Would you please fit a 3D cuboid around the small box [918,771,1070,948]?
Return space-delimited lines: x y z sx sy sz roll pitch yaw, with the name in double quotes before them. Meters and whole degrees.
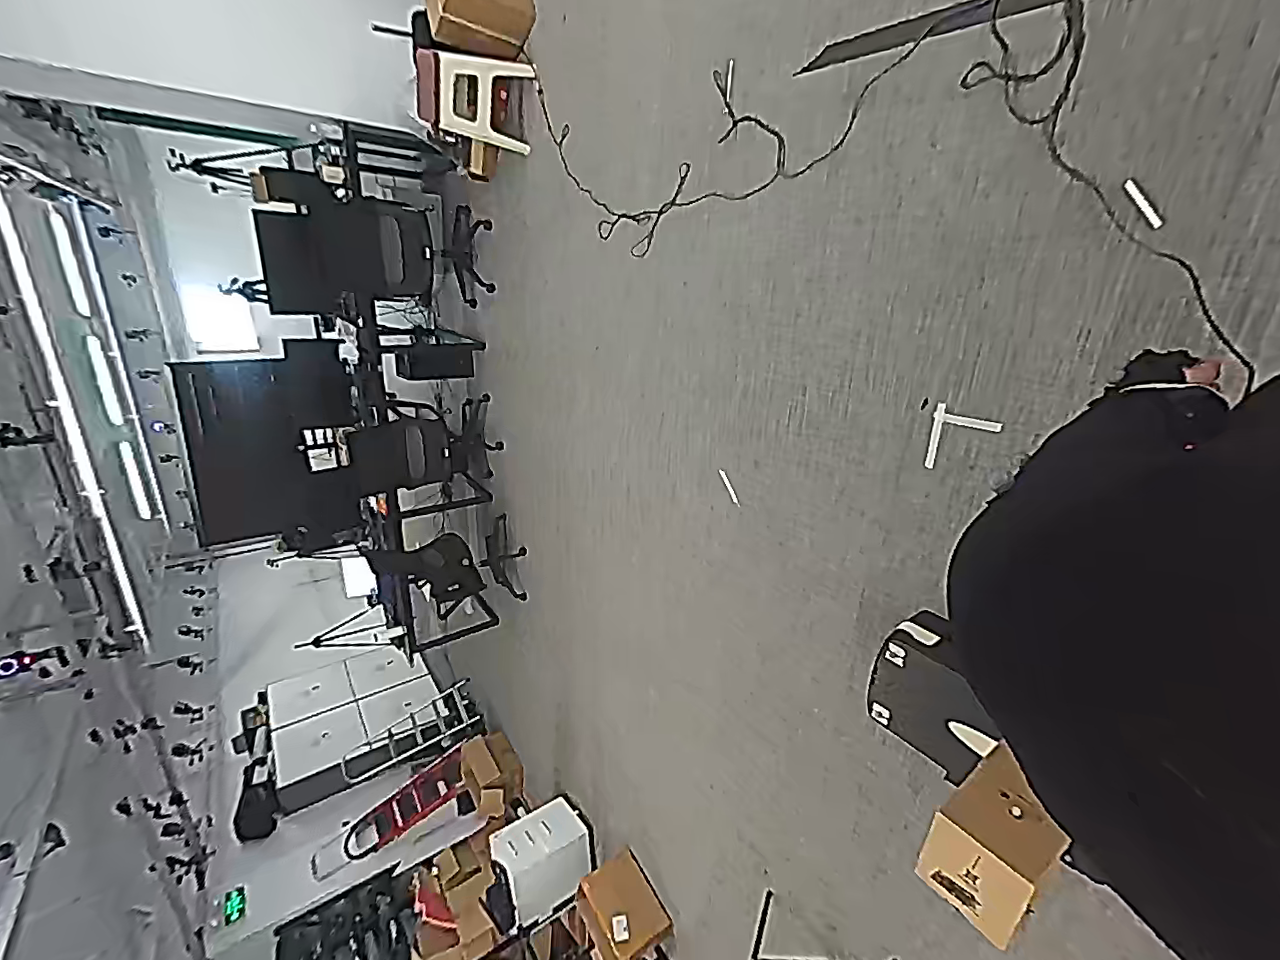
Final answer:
"small box" 0.660 0.696 1.010 0.168 0.176 0.179 29 123 48

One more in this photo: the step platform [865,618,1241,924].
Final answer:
"step platform" 0.882 0.623 1.269 0.684 0.204 0.286 27 122 48

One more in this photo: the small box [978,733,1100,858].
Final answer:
"small box" 0.792 0.664 1.102 0.168 0.176 0.179 30 123 47
